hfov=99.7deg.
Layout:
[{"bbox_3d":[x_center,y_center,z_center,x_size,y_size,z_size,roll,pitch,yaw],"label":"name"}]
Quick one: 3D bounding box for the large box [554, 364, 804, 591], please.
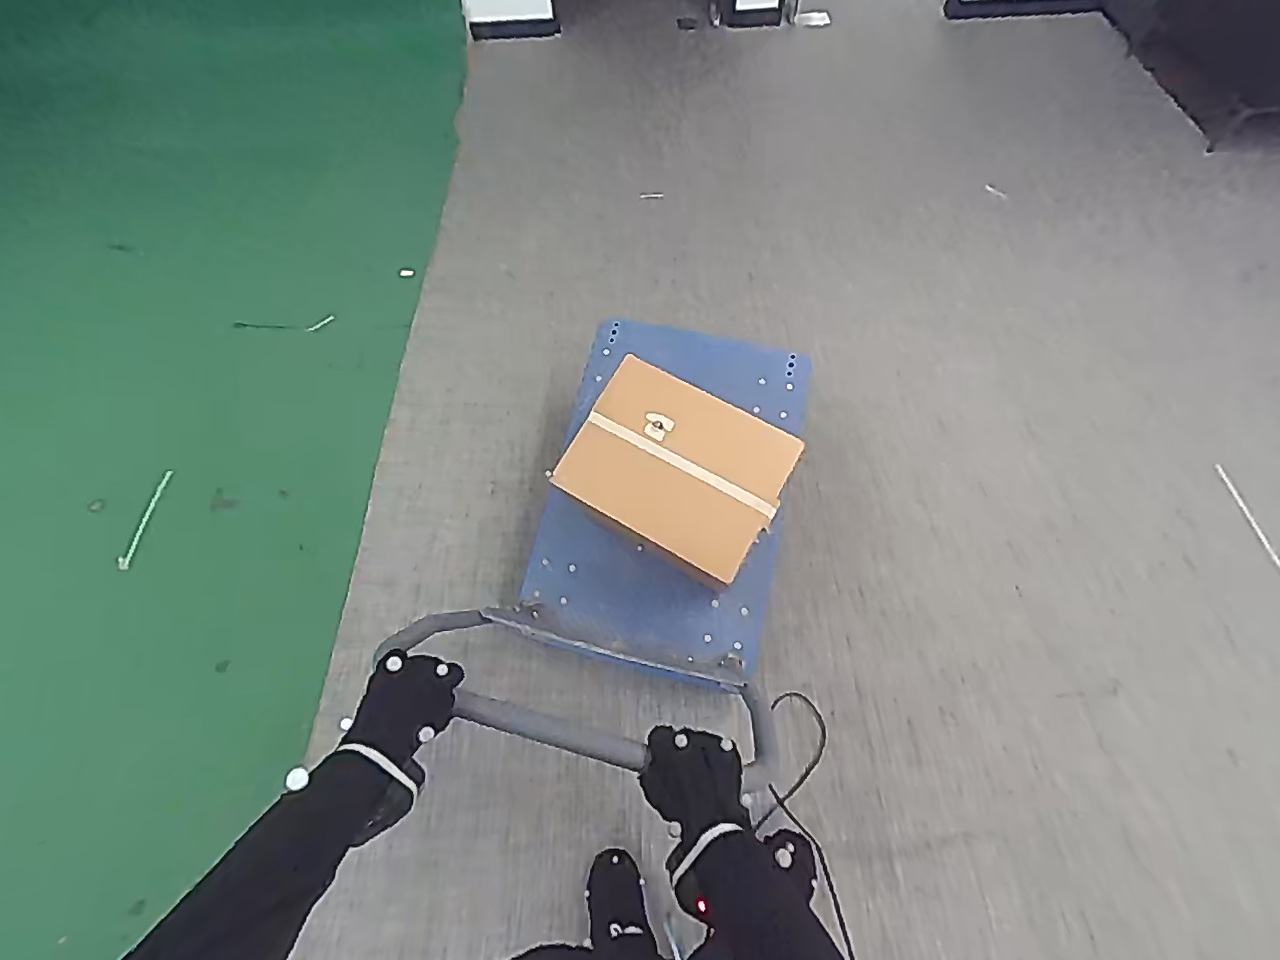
[{"bbox_3d":[0.092,0.013,1.189,0.408,0.320,0.320,28,80,13],"label":"large box"}]
